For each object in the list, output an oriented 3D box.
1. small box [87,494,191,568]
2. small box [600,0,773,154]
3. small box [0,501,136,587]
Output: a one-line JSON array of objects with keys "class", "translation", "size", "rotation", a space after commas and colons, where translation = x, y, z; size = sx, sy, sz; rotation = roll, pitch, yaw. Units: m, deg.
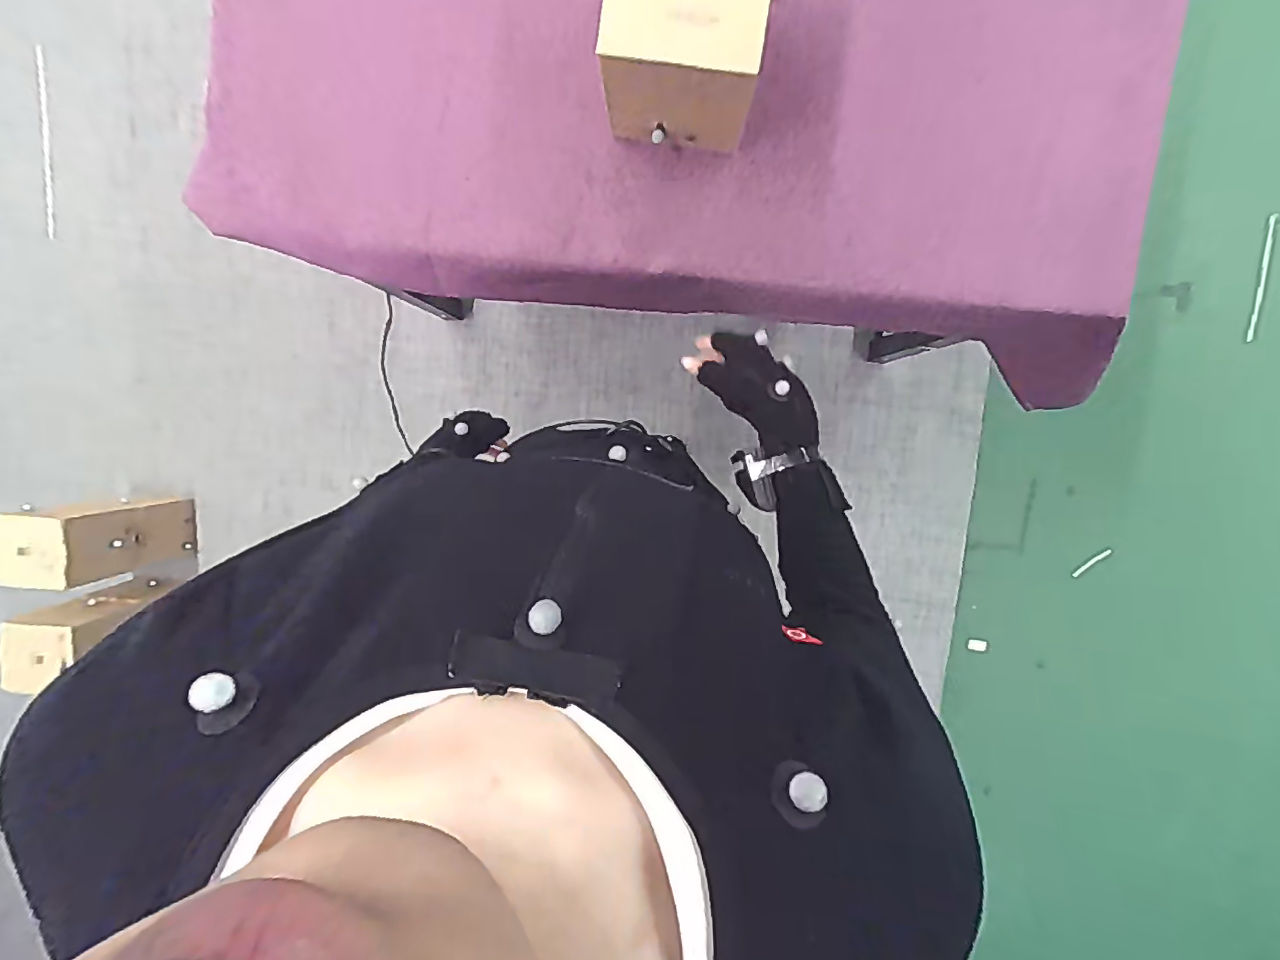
[{"class": "small box", "translation": [-1.344, 0.129, 1.443], "size": [0.179, 0.176, 0.168], "rotation": [3, 96, 2]}, {"class": "small box", "translation": [0.055, -0.510, 0.610], "size": [0.168, 0.176, 0.179], "rotation": [9, 96, 1]}, {"class": "small box", "translation": [-1.356, 0.144, 1.279], "size": [0.179, 0.176, 0.168], "rotation": [4, 96, 1]}]
